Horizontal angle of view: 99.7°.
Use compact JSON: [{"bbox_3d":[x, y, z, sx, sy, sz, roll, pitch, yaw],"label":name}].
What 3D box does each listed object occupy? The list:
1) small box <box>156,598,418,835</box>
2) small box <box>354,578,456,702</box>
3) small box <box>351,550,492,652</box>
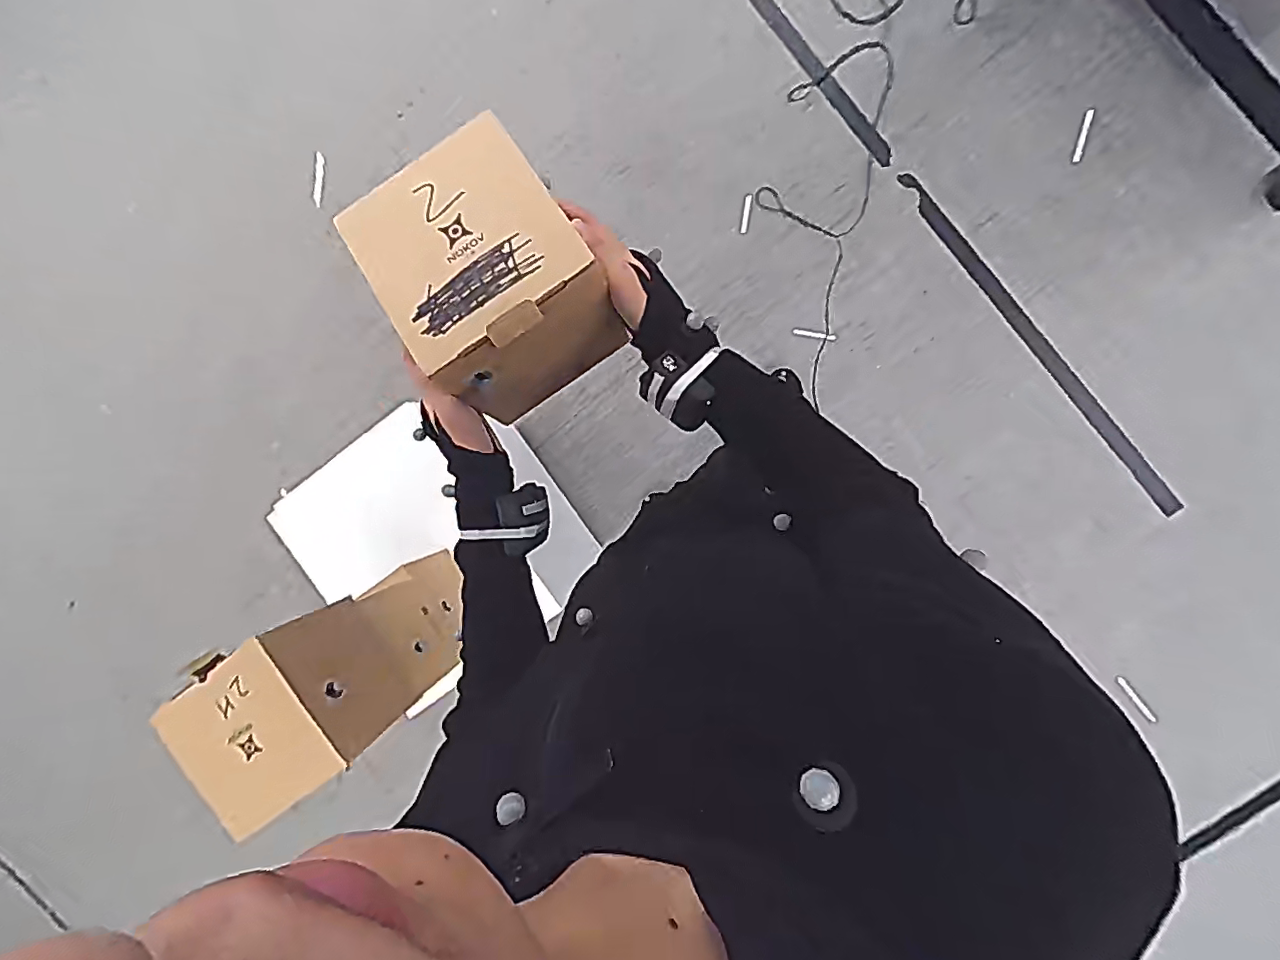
[{"bbox_3d":[-0.416,0.275,0.669,0.168,0.176,0.179,-36,89,6],"label":"small box"},{"bbox_3d":[-0.411,0.273,0.834,0.179,0.176,0.168,-33,89,7],"label":"small box"},{"bbox_3d":[-0.405,0.251,0.996,0.168,0.176,0.179,-35,88,6],"label":"small box"}]
